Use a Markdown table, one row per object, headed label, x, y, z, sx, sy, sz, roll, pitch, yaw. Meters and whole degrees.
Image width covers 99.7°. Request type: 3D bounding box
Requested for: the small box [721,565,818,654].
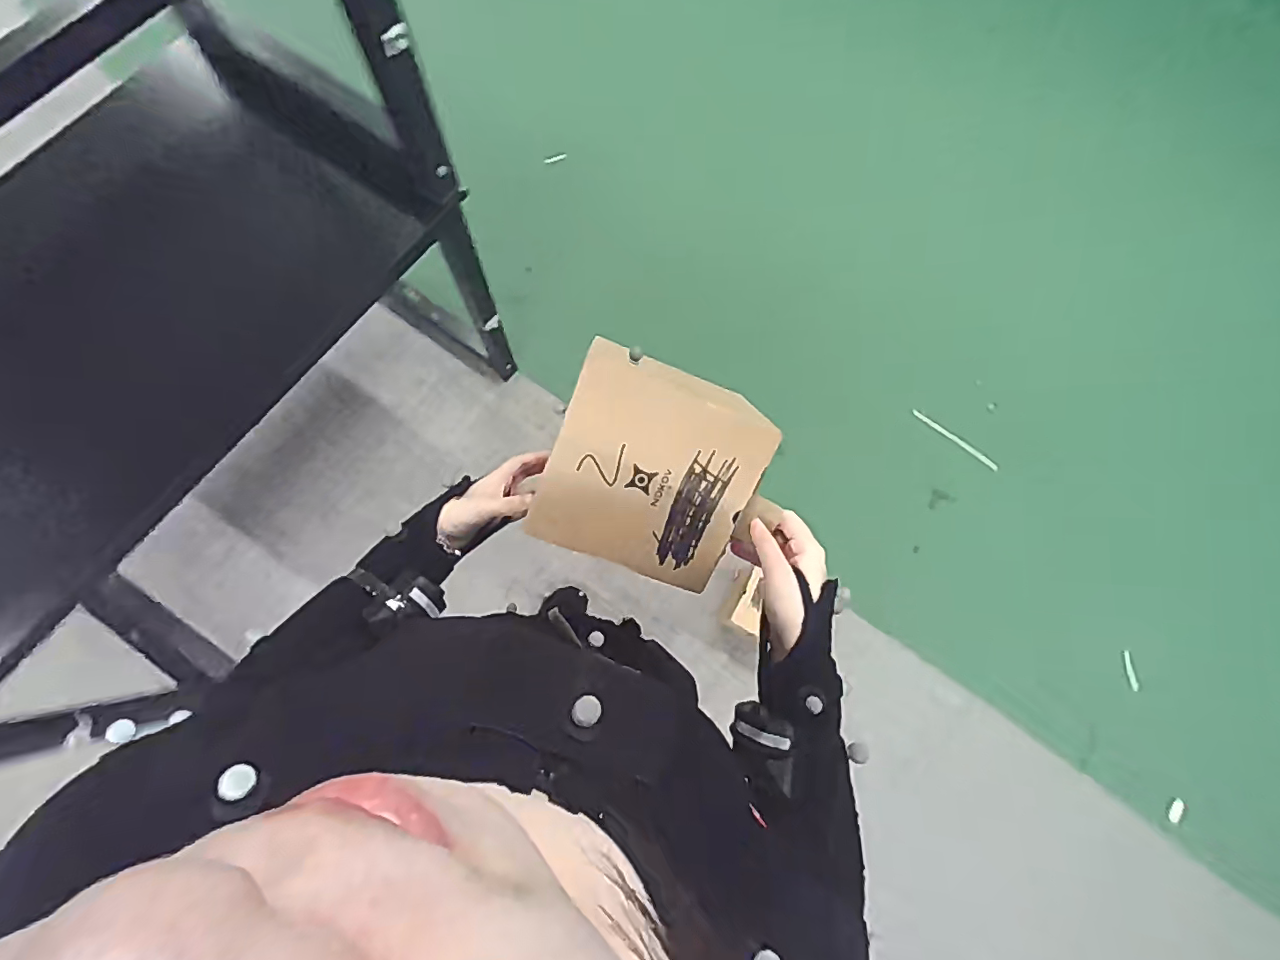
| label | x | y | z | sx | sy | sz | roll | pitch | yaw |
| --- | --- | --- | --- | --- | --- | --- | --- | --- | --- |
| small box | 0.337 | 0.346 | 1.447 | 0.179 | 0.176 | 0.168 | 29 | 77 | 2 |
